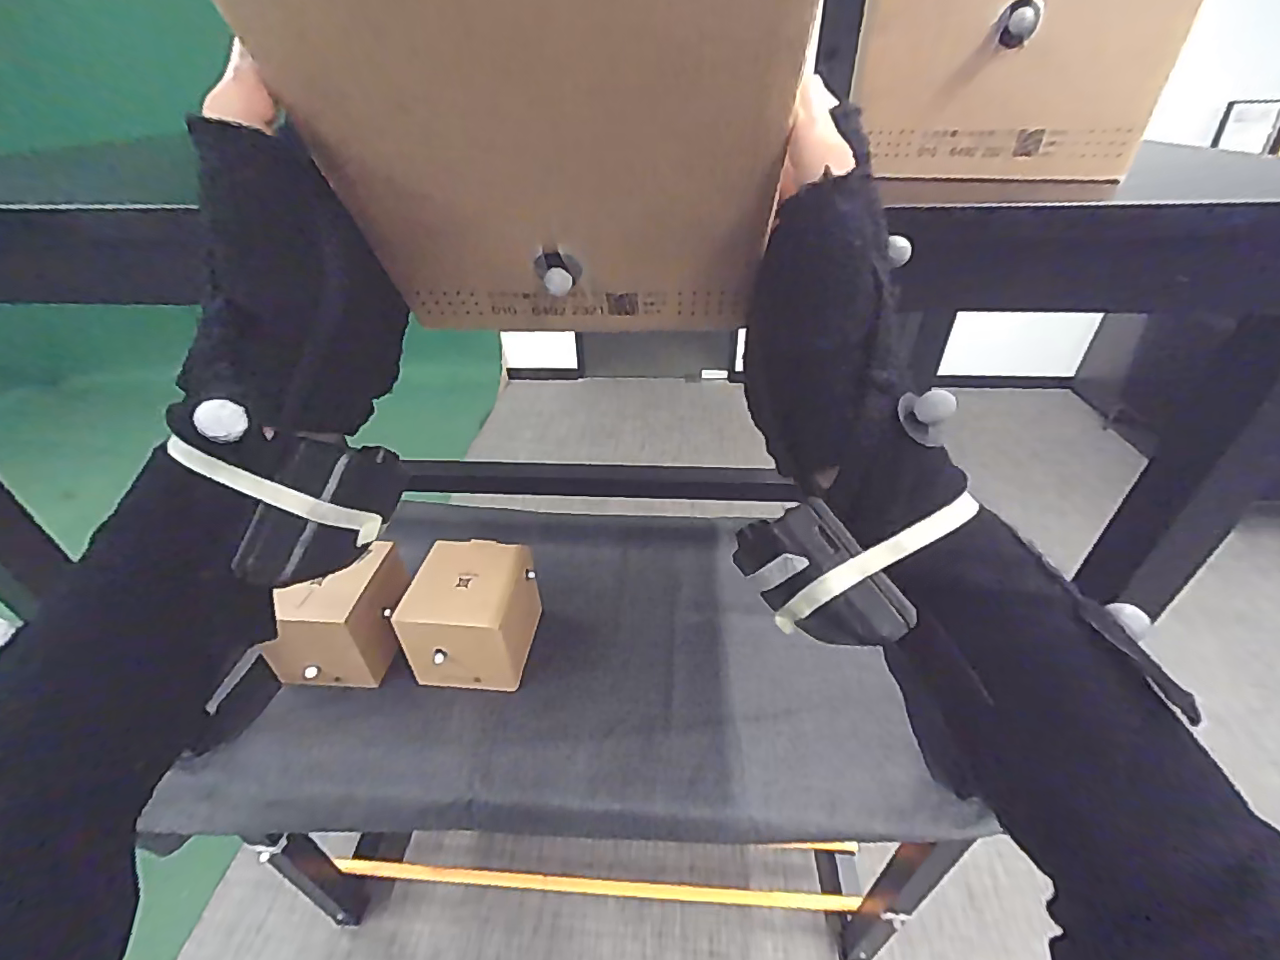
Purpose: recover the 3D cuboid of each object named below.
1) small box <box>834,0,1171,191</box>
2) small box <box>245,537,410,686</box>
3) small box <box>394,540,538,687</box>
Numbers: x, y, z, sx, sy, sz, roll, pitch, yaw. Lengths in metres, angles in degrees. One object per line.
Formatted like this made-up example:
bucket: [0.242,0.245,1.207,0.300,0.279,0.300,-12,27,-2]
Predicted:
small box: [0.240,-0.311,0.384,0.168,0.176,0.179,9,37,12]
small box: [-0.502,0.219,0.912,0.168,0.176,0.179,2,37,3]
small box: [-0.275,0.223,0.906,0.168,0.176,0.179,3,36,4]
